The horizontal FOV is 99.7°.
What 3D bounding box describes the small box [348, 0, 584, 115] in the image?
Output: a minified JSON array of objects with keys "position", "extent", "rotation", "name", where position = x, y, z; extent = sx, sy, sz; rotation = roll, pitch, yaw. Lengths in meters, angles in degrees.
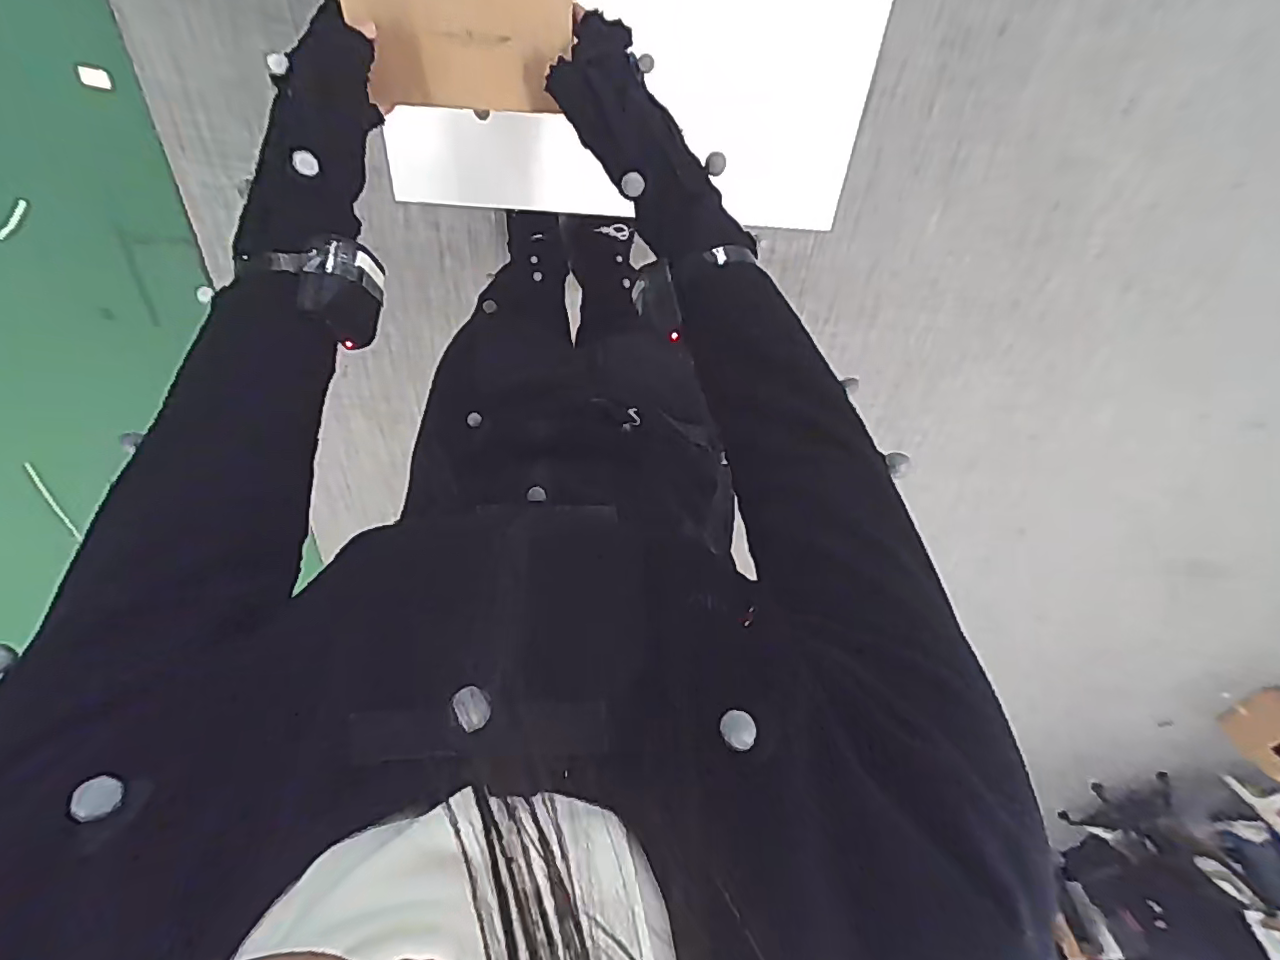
[{"position":[-0.131,-0.412,0.439],"extent":[0.168,0.176,0.179],"rotation":[0,130,-3],"name":"small box"}]
